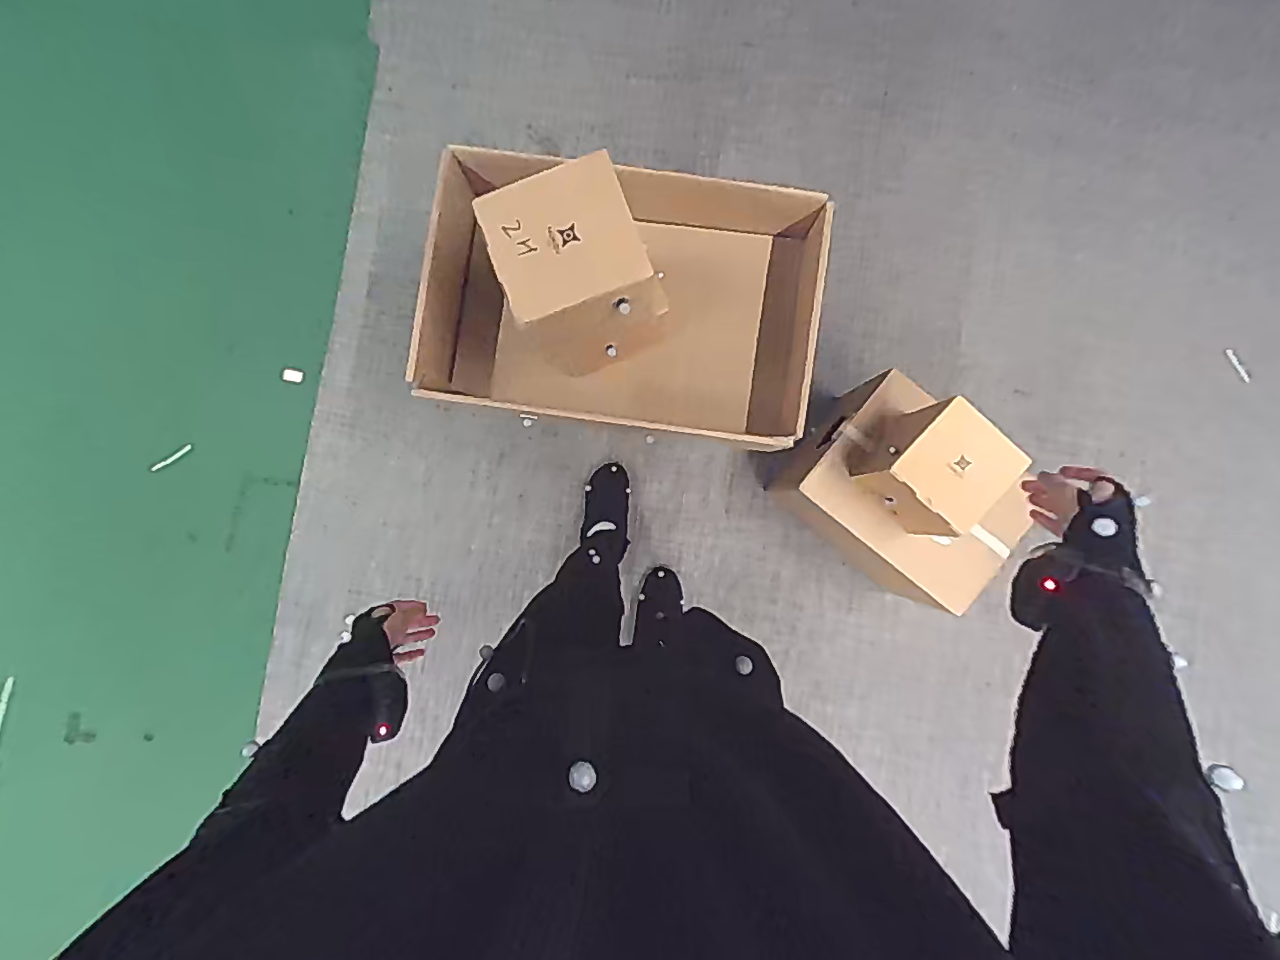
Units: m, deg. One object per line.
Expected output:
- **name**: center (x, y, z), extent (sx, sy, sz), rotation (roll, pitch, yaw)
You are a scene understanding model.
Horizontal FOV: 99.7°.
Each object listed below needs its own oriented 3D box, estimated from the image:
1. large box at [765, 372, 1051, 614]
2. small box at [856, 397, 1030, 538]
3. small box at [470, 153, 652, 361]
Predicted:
- **large box**: center (0.553, 0.028, 1.201), extent (0.408, 0.320, 0.320), rotation (39, 89, 1)
- **small box**: center (0.521, -0.018, 0.960), extent (0.168, 0.176, 0.179), rotation (43, 88, 2)
- **small box**: center (-0.092, -0.278, 0.713), extent (0.179, 0.176, 0.168), rotation (-21, 86, 1)
